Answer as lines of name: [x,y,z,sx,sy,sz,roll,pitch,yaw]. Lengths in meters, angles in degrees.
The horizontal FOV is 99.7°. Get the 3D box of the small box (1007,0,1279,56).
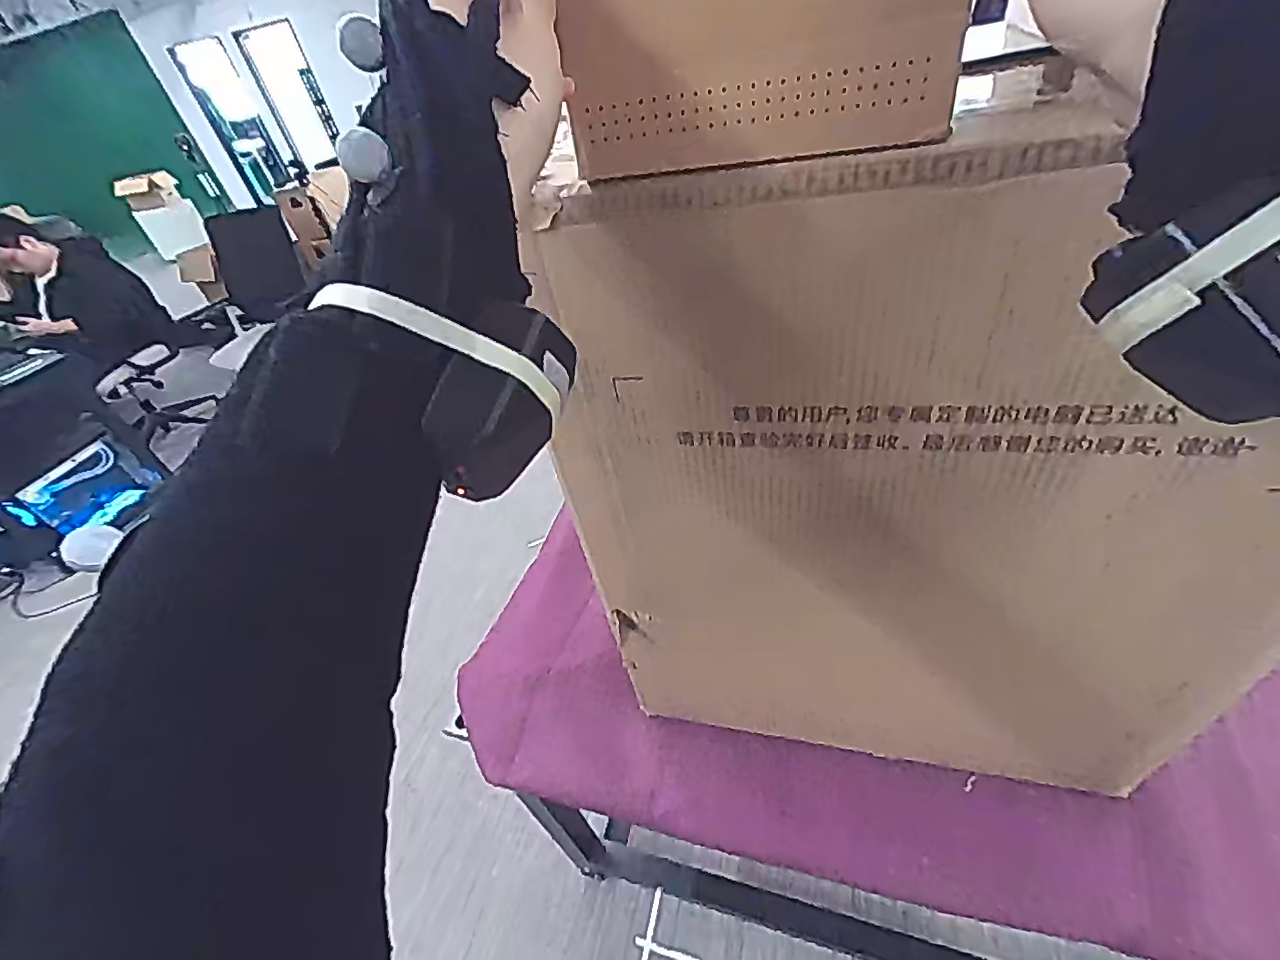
small box: [0.359,-0.392,0.344,0.168,0.176,0.179,4,43,20]
